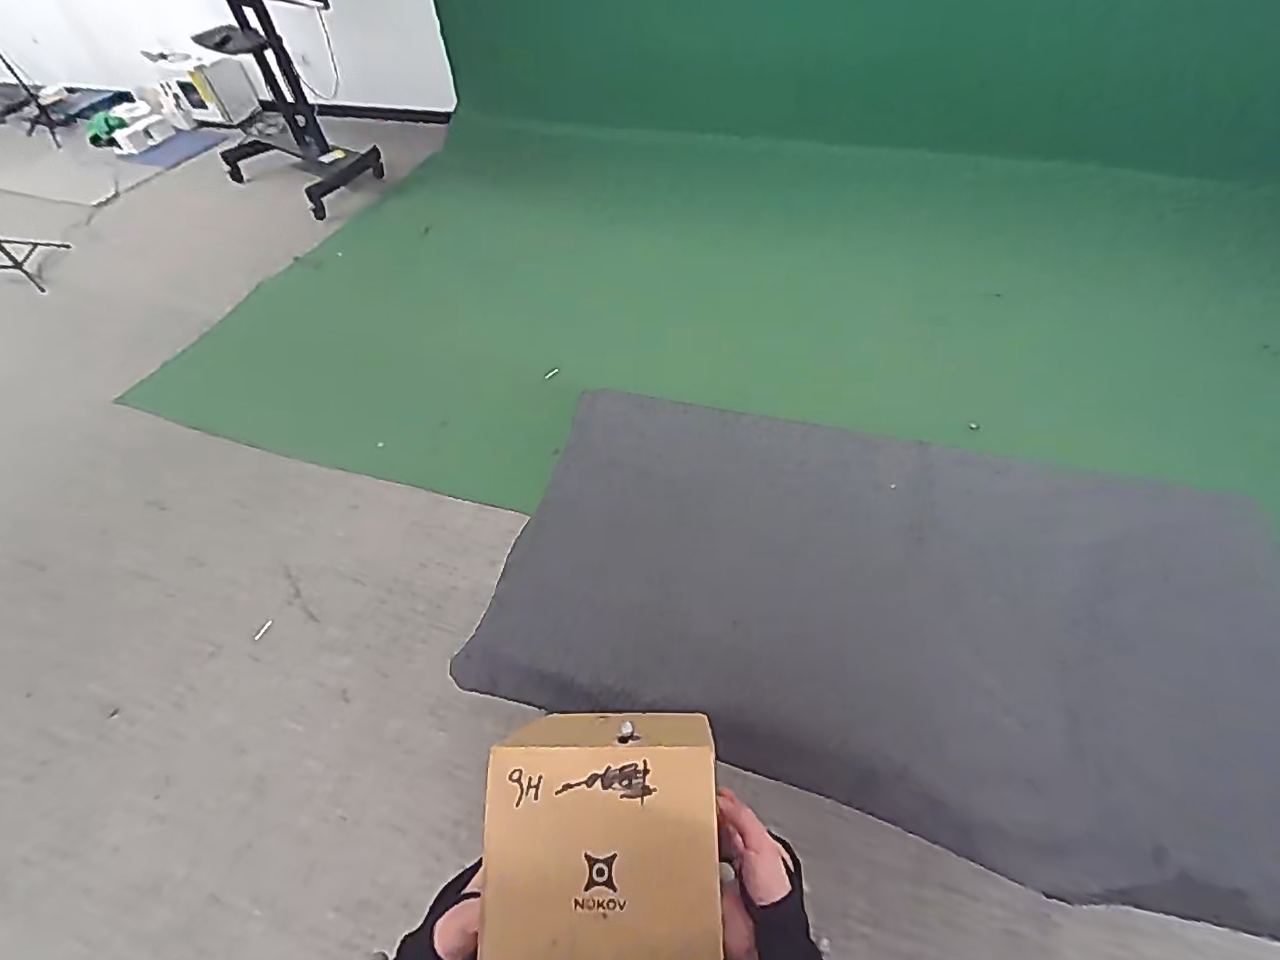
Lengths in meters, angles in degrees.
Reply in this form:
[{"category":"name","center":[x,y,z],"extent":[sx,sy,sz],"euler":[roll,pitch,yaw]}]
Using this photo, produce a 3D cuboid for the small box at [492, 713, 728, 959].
[{"category":"small box","center":[-0.014,0.306,0.455],"extent":[0.168,0.176,0.179],"euler":[-2,75,4]}]
